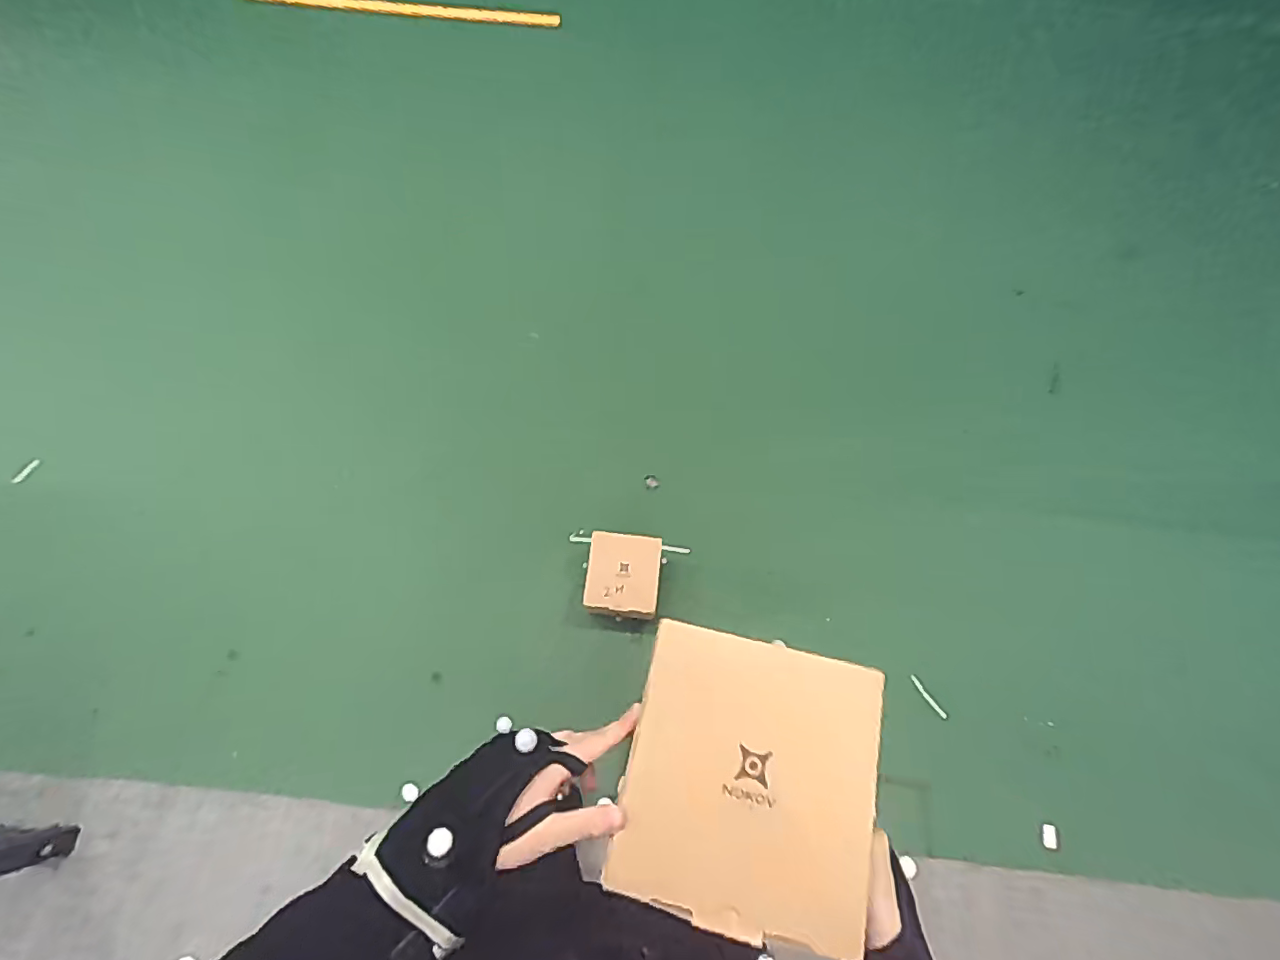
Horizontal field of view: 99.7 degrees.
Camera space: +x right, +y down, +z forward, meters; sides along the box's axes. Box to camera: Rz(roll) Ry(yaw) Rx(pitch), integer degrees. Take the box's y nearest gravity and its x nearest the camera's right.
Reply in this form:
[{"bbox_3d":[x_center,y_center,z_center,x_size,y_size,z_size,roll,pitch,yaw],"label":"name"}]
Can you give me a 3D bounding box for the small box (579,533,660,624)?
[{"bbox_3d":[-0.049,0.242,1.300,0.168,0.176,0.179,7,70,0],"label":"small box"}]
